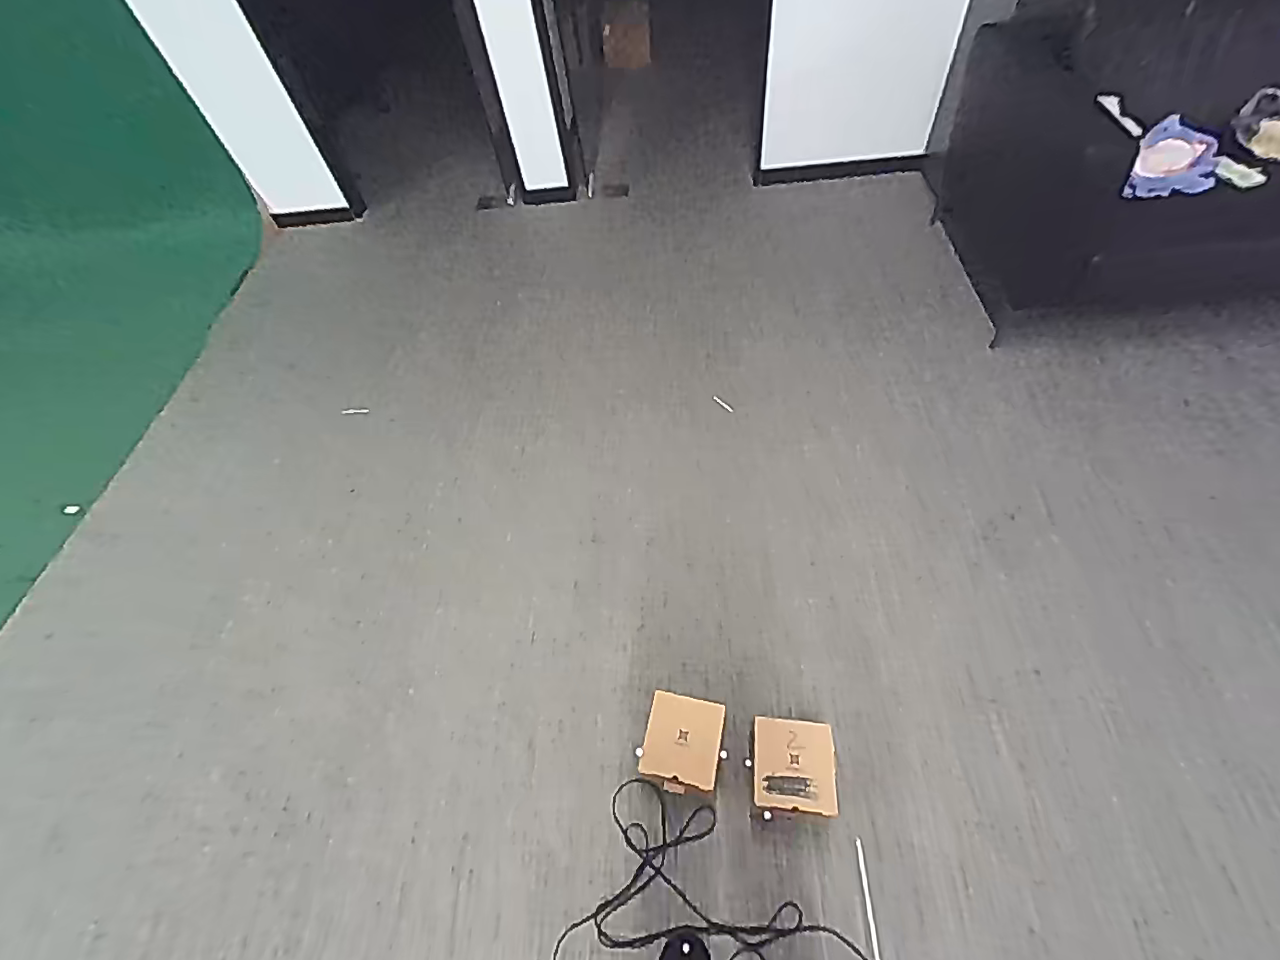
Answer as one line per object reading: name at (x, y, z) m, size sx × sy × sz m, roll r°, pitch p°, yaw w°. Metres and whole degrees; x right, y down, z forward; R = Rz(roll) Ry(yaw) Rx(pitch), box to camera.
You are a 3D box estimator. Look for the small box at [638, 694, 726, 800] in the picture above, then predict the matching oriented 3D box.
small box at (0.102, 0.622, 1.255) m, size 0.168 × 0.176 × 0.179 m, roll 8°, pitch 57°, yaw 13°
